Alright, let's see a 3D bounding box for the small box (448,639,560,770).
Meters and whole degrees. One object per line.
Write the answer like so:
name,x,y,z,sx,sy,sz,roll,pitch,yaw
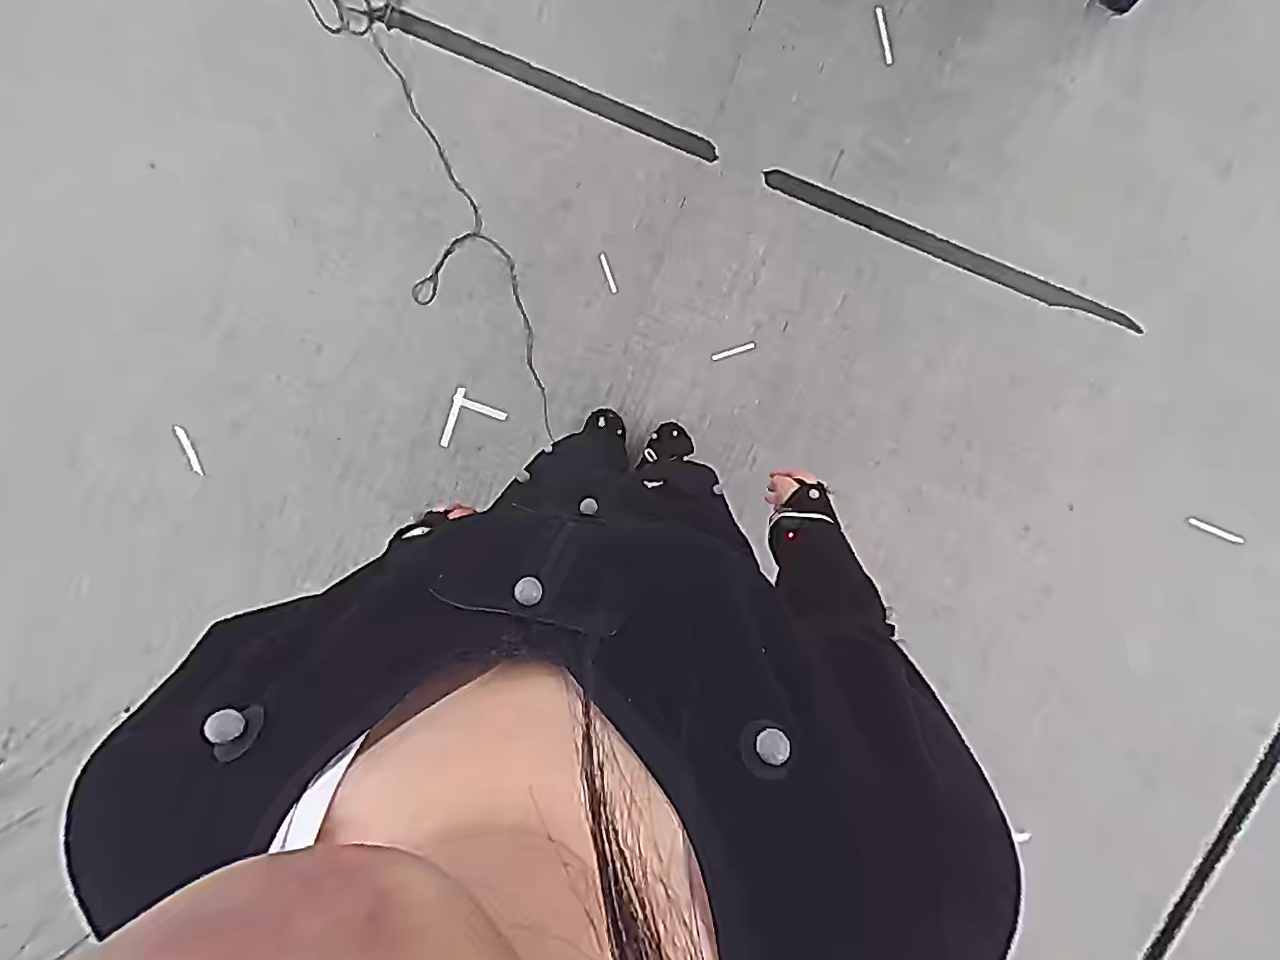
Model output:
small box,-0.286,0.476,1.172,0.168,0.176,0.179,19,95,1
